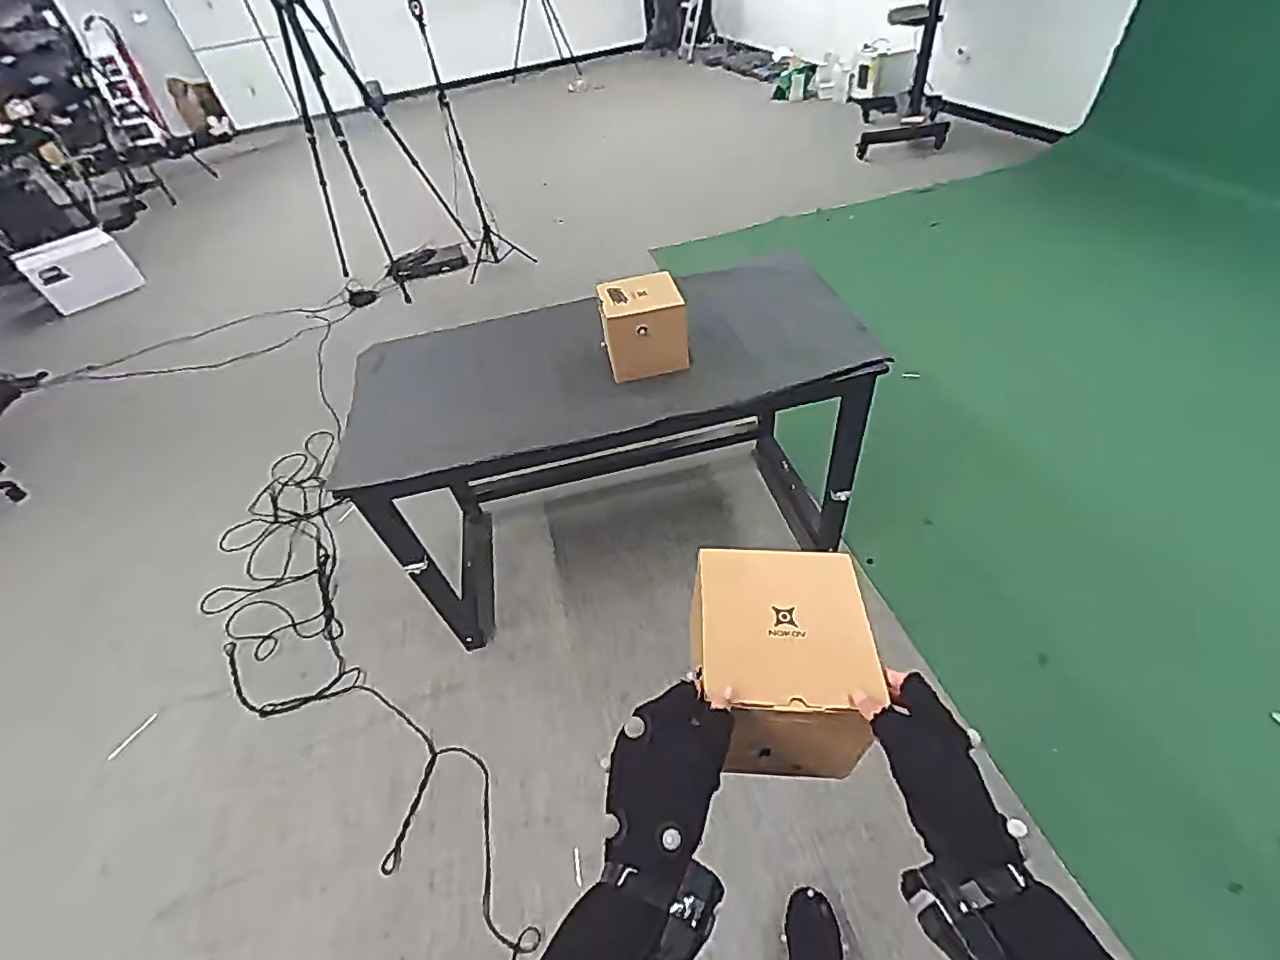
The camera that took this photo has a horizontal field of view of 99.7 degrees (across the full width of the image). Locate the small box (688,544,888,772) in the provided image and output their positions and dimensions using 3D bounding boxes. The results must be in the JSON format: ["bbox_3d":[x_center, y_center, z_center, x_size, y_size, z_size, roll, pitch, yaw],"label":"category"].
[{"bbox_3d":[0.141,0.192,0.590,0.168,0.176,0.179,2,44,2],"label":"small box"}]

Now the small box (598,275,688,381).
[{"bbox_3d":[0.009,-0.349,1.257,0.179,0.176,0.168,-12,45,-3],"label":"small box"}]
